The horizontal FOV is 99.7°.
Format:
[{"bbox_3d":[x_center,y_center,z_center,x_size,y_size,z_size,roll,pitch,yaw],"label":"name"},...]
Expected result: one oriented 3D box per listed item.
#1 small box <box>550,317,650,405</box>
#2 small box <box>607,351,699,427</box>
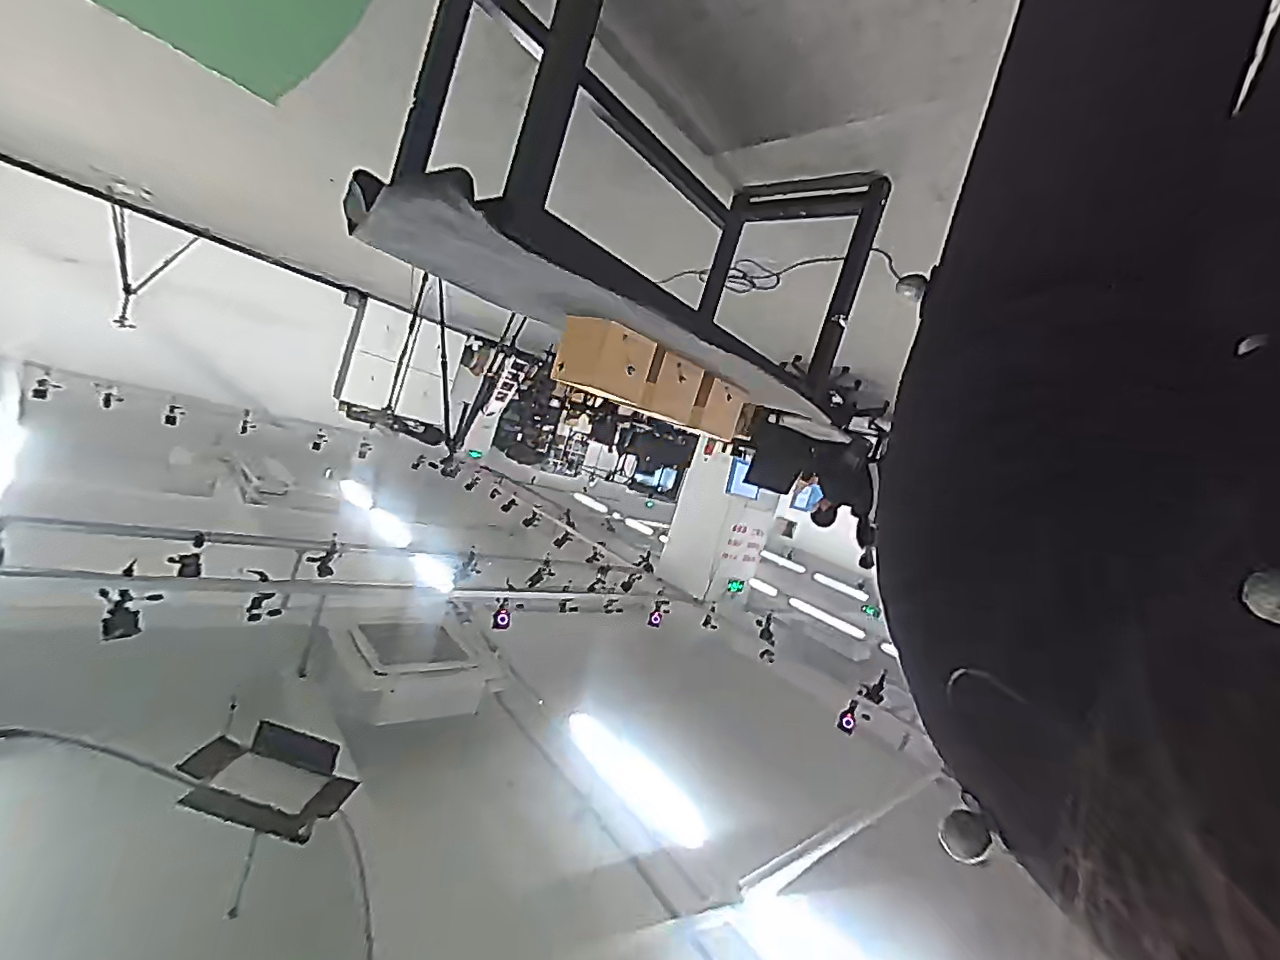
[{"bbox_3d":[-0.095,-0.300,1.359,0.168,0.176,0.179,14,-174,-44],"label":"small box"},{"bbox_3d":[0.039,-0.266,1.535,0.168,0.176,0.179,14,-175,-44],"label":"small box"}]
